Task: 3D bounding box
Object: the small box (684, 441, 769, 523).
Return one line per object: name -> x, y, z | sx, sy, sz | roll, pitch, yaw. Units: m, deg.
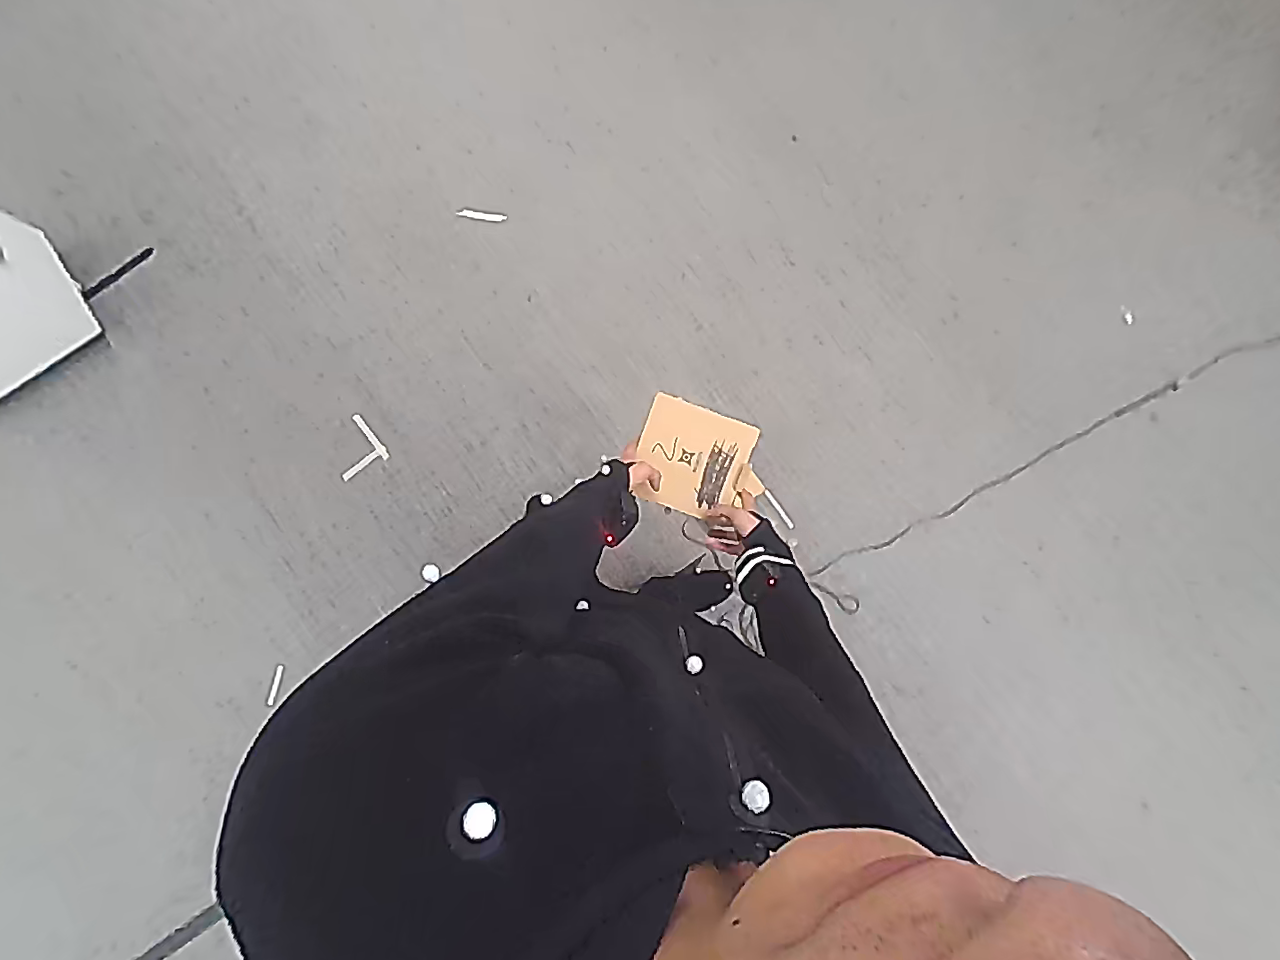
small box -> 0.242, 0.013, 1.565 | 0.168, 0.176, 0.179 | -37, 86, -1
